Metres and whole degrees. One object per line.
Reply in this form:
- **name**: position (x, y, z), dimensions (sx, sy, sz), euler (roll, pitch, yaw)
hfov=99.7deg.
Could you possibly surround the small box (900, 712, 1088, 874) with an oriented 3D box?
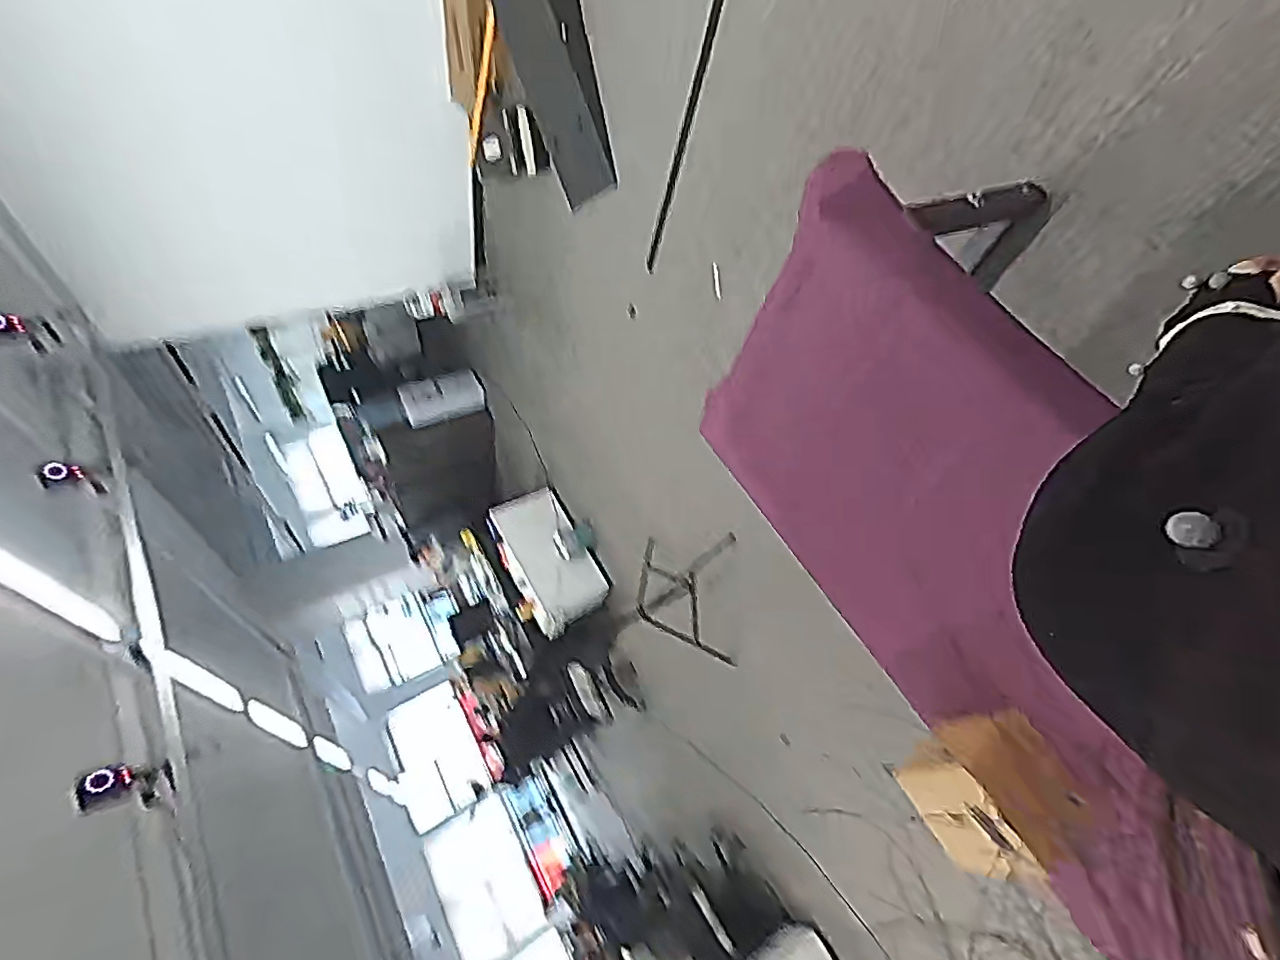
- **small box**: position (0.584, 0.507, 0.892), dimensions (0.168, 0.176, 0.179), euler (57, 151, 20)

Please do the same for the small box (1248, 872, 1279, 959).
- **small box**: position (0.771, 0.466, 0.514), dimensions (0.168, 0.176, 0.179), euler (57, 151, 22)
